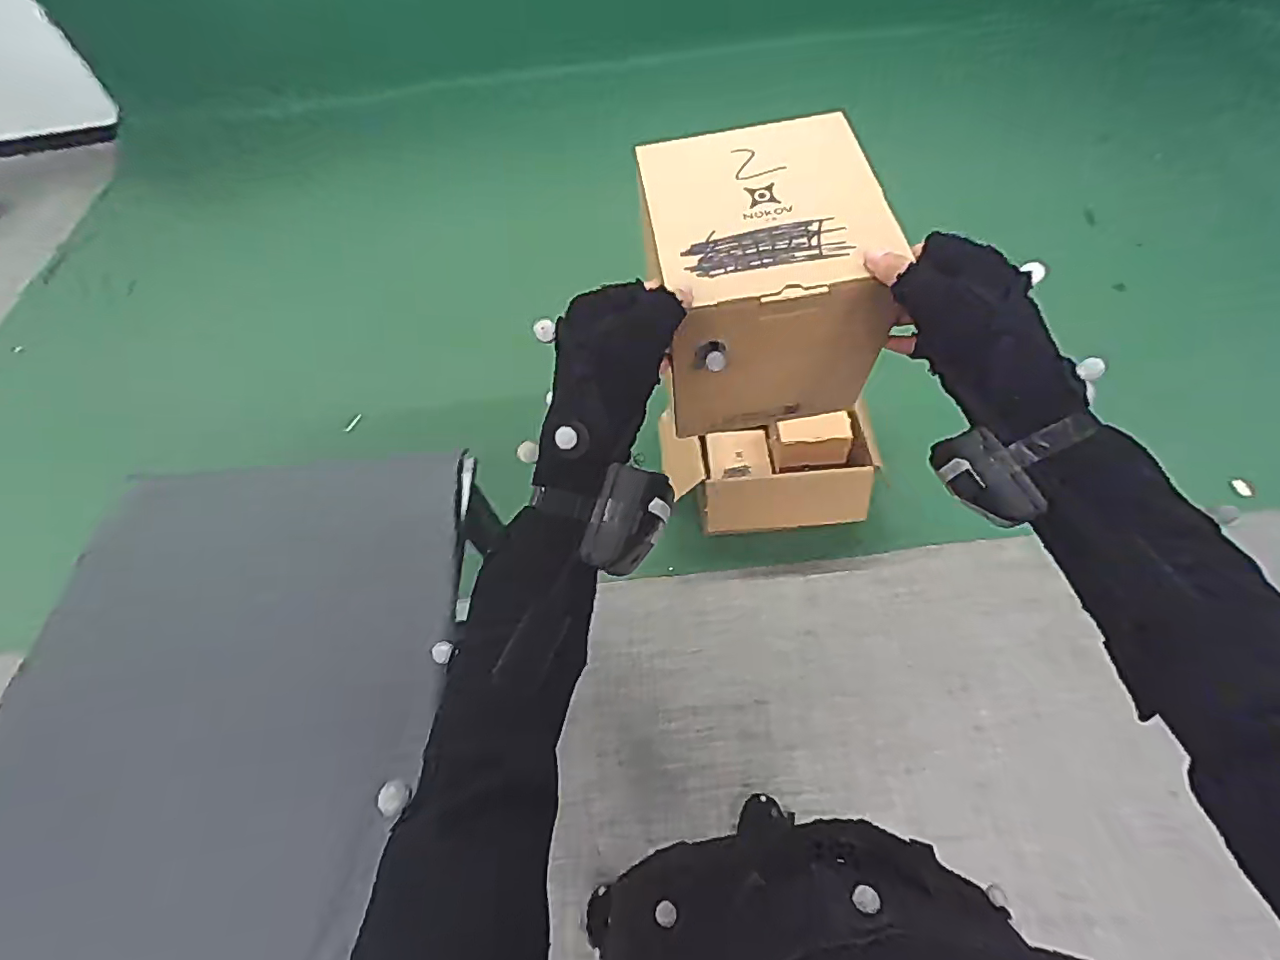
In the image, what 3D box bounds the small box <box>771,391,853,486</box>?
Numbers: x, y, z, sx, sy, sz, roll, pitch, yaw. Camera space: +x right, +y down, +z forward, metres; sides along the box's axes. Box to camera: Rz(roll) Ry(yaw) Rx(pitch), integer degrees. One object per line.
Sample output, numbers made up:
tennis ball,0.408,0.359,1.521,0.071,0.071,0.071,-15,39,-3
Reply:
small box,0.435,-0.105,1.397,0.168,0.176,0.179,-5,56,7
